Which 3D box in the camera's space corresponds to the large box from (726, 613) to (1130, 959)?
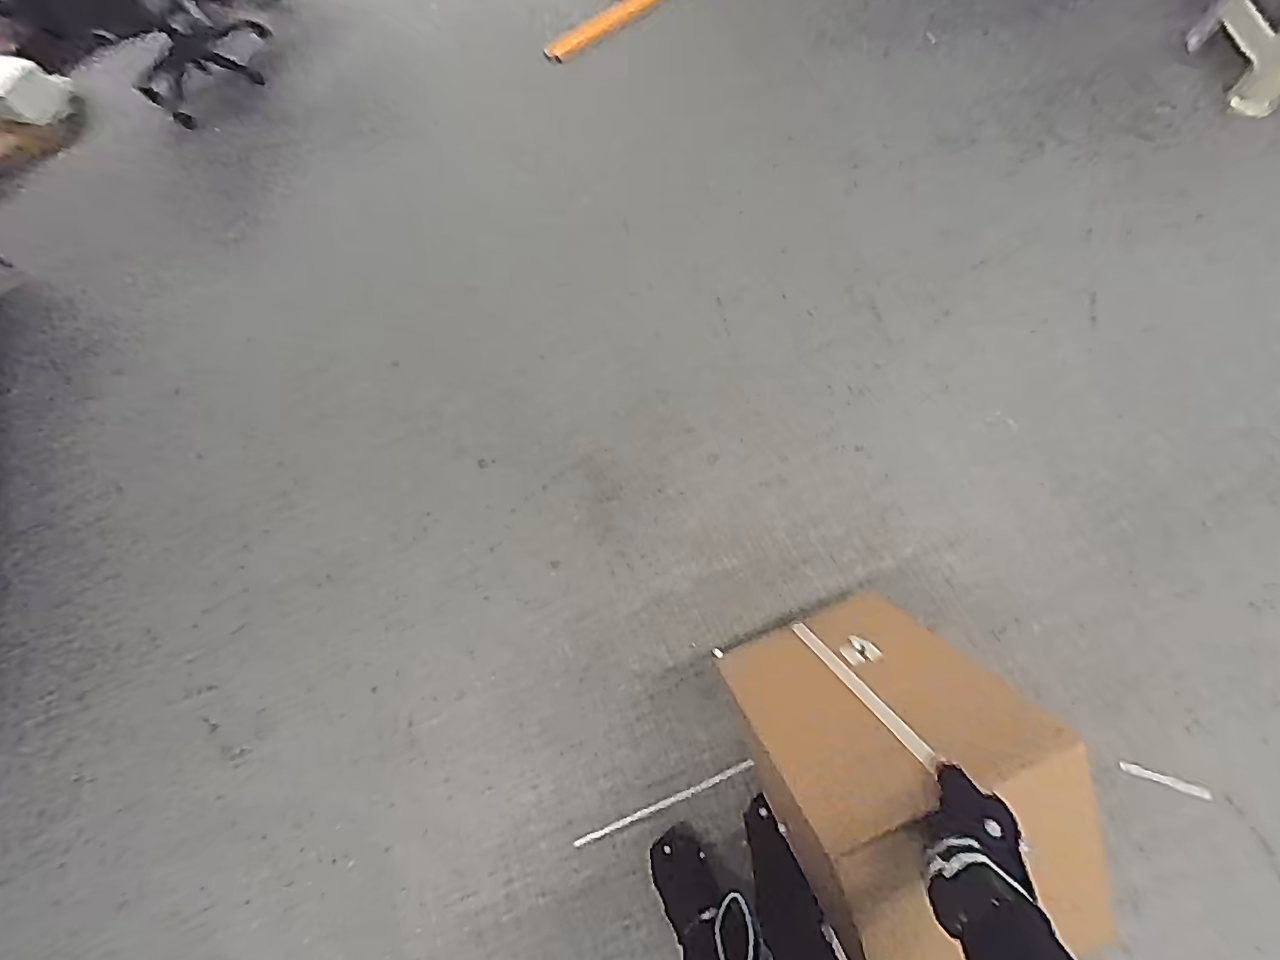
[{"bbox_3d":[0.376,0.464,0.799,0.320,0.408,0.320,-21,103,-5],"label":"large box"}]
